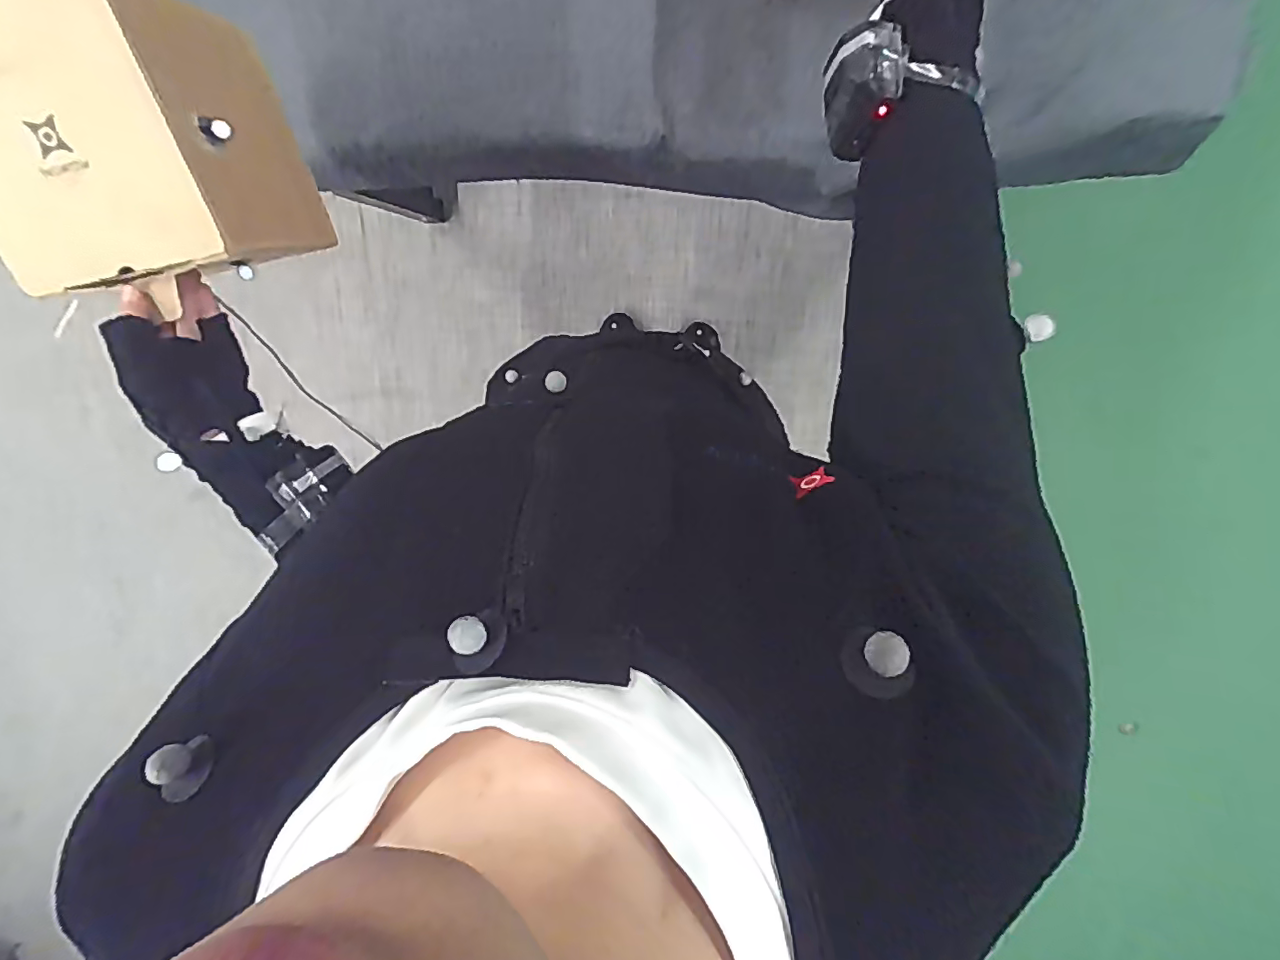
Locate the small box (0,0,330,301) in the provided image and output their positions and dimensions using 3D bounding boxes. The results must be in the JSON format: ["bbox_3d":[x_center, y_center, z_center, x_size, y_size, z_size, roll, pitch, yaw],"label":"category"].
[{"bbox_3d":[-0.391,-0.257,0.430,0.168,0.176,0.179,-11,115,4],"label":"small box"}]
